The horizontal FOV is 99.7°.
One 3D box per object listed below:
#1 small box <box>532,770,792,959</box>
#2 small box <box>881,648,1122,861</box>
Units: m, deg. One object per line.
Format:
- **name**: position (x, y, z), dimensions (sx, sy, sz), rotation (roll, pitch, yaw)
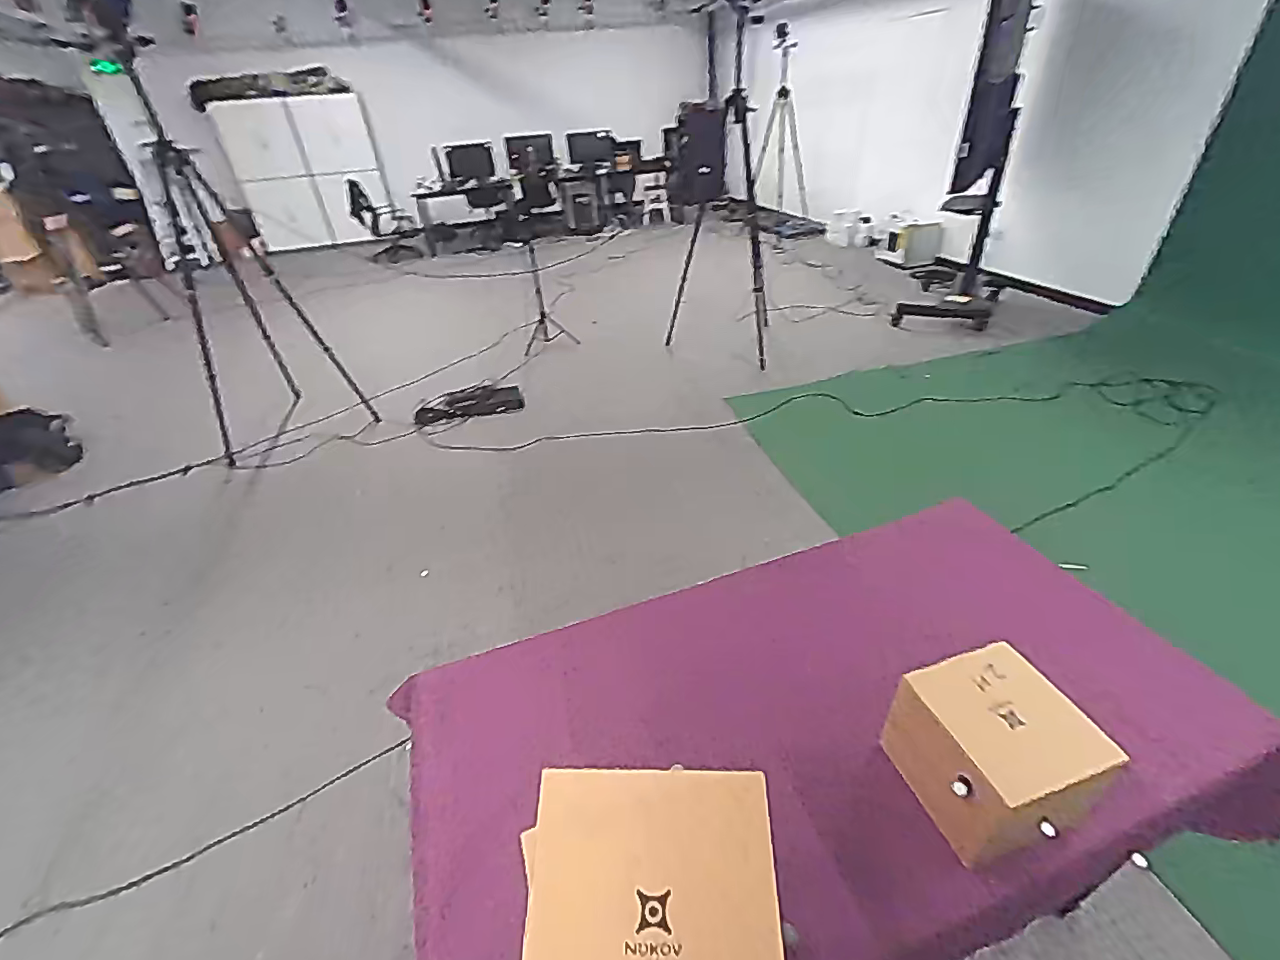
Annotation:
- **small box**: position (0.013, 0.333, 0.411), dimensions (0.168, 0.176, 0.179), rotation (2, 55, 1)
- **small box**: position (0.447, 0.358, 0.703), dimensions (0.168, 0.176, 0.179), rotation (-12, 35, -12)
